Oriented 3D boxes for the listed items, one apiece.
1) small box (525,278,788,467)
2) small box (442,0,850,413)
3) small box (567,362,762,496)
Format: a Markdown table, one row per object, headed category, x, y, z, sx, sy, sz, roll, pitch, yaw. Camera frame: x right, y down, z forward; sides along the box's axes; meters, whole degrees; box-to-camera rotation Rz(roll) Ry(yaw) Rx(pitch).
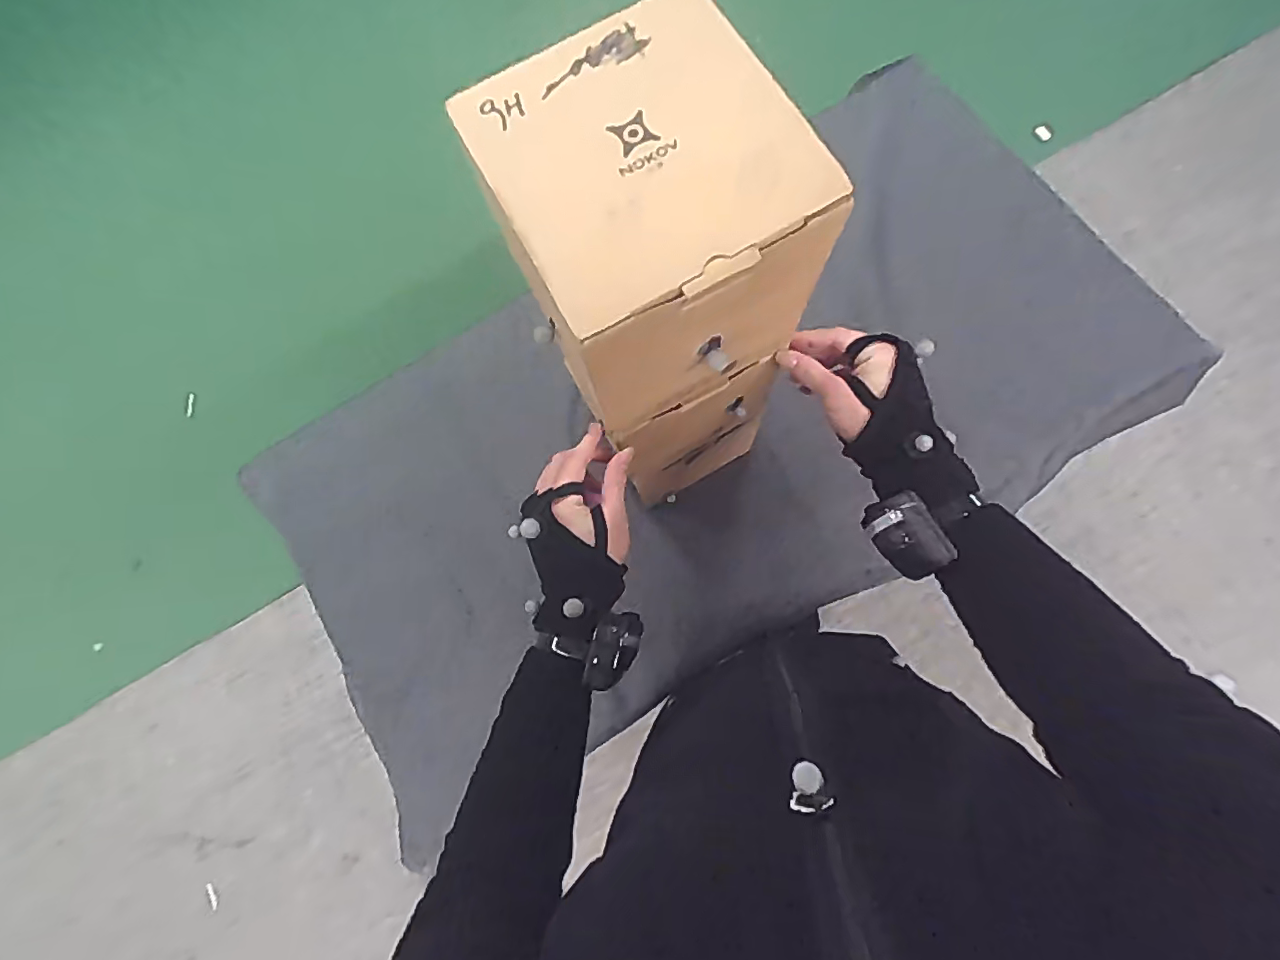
| category | x | y | z | sx | sy | sz | roll | pitch | yaw |
| --- | --- | --- | --- | --- | --- | --- | --- | --- | --- |
| small box | 0.017 | -0.127 | 0.527 | 0.168 | 0.176 | 0.179 | -29 | 77 | -2 |
| small box | 0.004 | -0.163 | 0.367 | 0.168 | 0.176 | 0.179 | -28 | 79 | -3 |
| small box | 0.033 | -0.093 | 0.684 | 0.168 | 0.176 | 0.179 | -30 | 77 | -1 |
